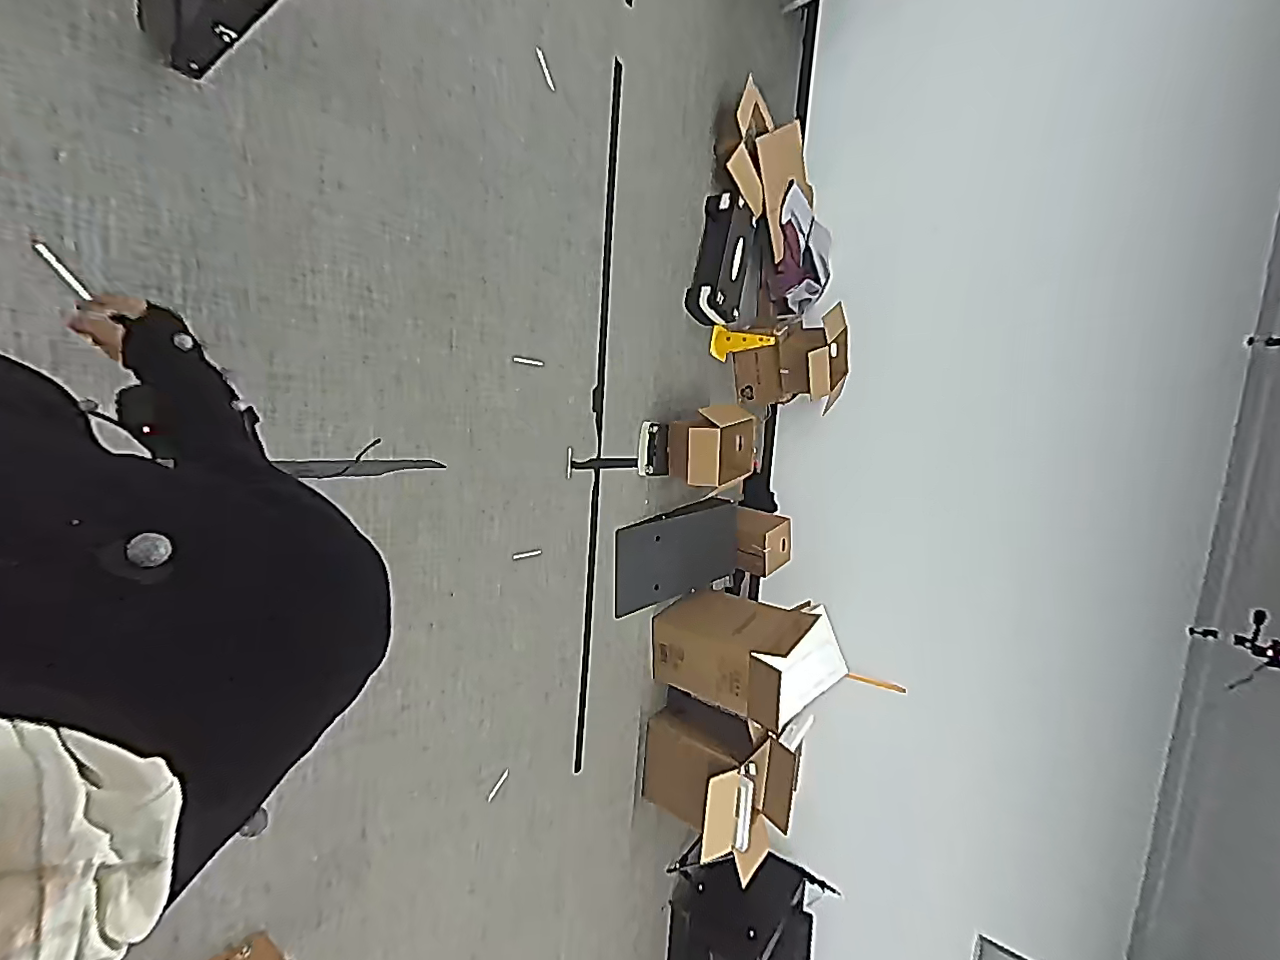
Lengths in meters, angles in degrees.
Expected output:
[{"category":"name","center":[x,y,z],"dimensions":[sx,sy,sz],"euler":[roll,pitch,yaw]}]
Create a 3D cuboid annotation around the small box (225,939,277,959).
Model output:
[{"category":"small box","center":[-1.107,1.452,1.505],"dimensions":[0.168,0.176,0.179],"euler":[-2,99,-55]}]
